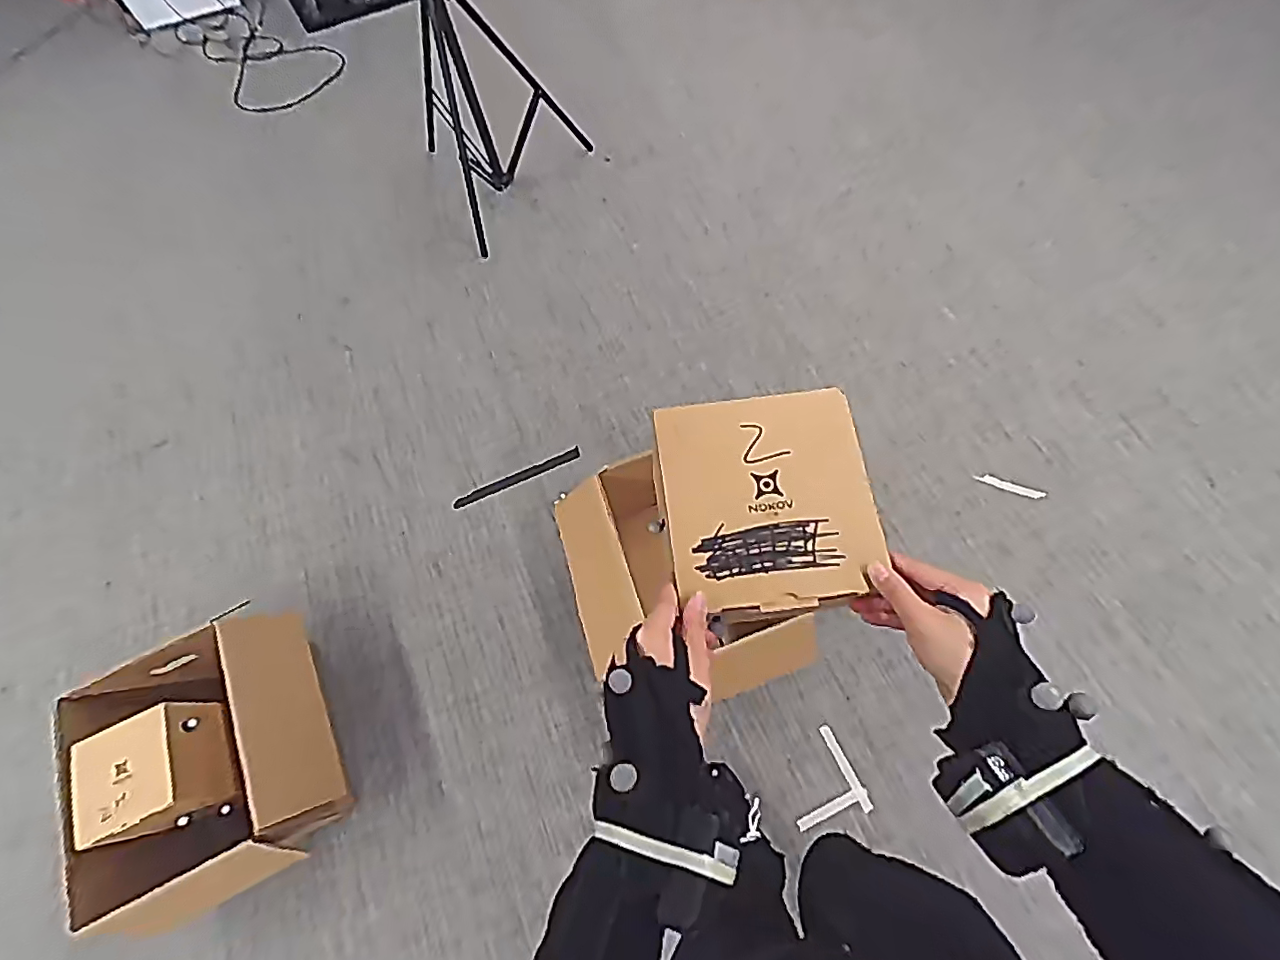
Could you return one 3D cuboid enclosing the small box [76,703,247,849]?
[{"bbox_3d":[-0.869,0.531,0.993,0.168,0.176,0.179,-25,67,-5],"label":"small box"}]
